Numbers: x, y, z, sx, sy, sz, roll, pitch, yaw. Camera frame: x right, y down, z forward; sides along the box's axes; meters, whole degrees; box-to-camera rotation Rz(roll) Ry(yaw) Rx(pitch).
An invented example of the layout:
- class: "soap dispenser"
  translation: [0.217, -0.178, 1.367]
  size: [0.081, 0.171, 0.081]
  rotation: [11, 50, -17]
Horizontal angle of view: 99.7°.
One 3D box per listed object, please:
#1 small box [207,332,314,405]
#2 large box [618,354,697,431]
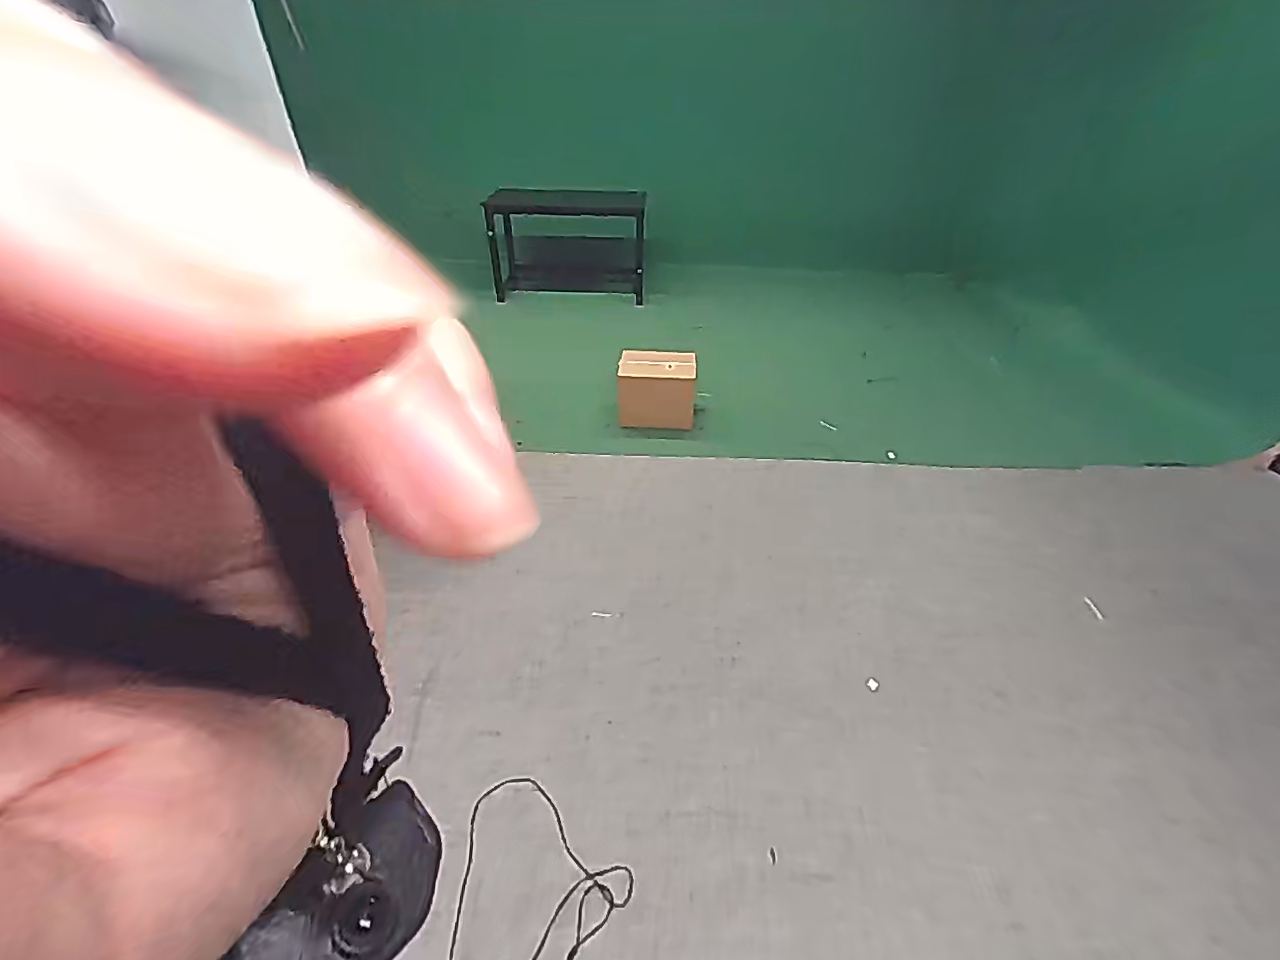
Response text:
- class: "small box"
  translation: [-1.135, -0.335, 1.631]
  size: [0.179, 0.176, 0.168]
  rotation: [0, 37, 1]
- class: "large box"
  translation: [0.092, -0.476, 2.929]
  size: [0.408, 0.320, 0.320]
  rotation: [3, 38, 3]
